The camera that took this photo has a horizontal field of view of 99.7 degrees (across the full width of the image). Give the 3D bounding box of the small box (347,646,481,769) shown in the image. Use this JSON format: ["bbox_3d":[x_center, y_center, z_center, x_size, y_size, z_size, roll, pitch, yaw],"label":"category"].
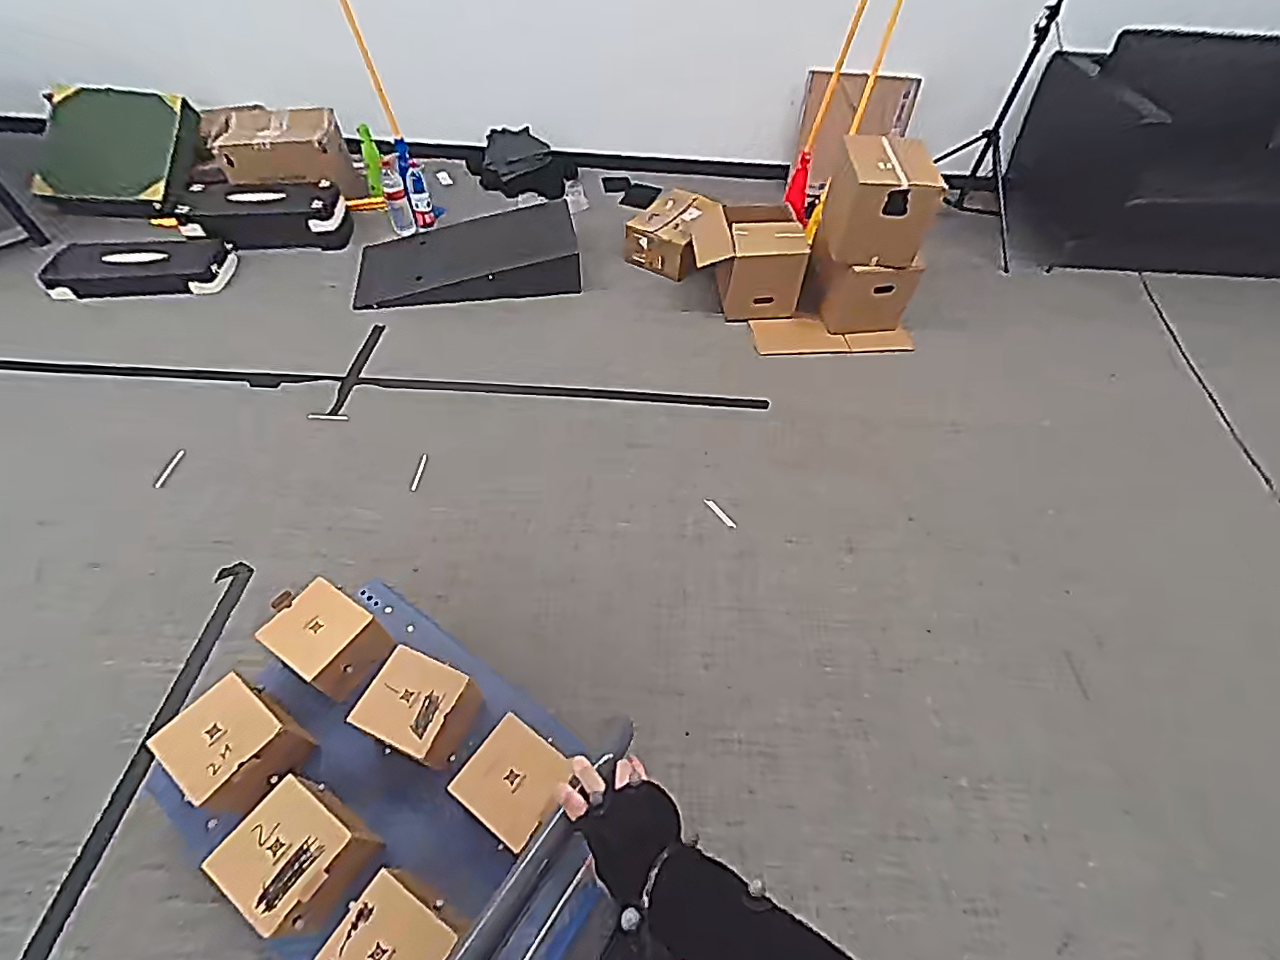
[{"bbox_3d":[-0.454,0.478,1.123,0.179,0.176,0.168,20,54,11],"label":"small box"}]

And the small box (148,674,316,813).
[{"bbox_3d":[-0.788,0.522,1.063,0.179,0.176,0.168,33,58,18],"label":"small box"}]

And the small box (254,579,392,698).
[{"bbox_3d":[-0.687,0.357,1.196,0.179,0.176,0.168,28,56,16],"label":"small box"}]

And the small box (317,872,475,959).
[{"bbox_3d":[-0.400,0.787,0.896,0.179,0.176,0.168,28,55,15],"label":"small box"}]

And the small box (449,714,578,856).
[{"bbox_3d":[-0.235,0.595,1.054,0.179,0.176,0.168,31,56,18],"label":"small box"}]
